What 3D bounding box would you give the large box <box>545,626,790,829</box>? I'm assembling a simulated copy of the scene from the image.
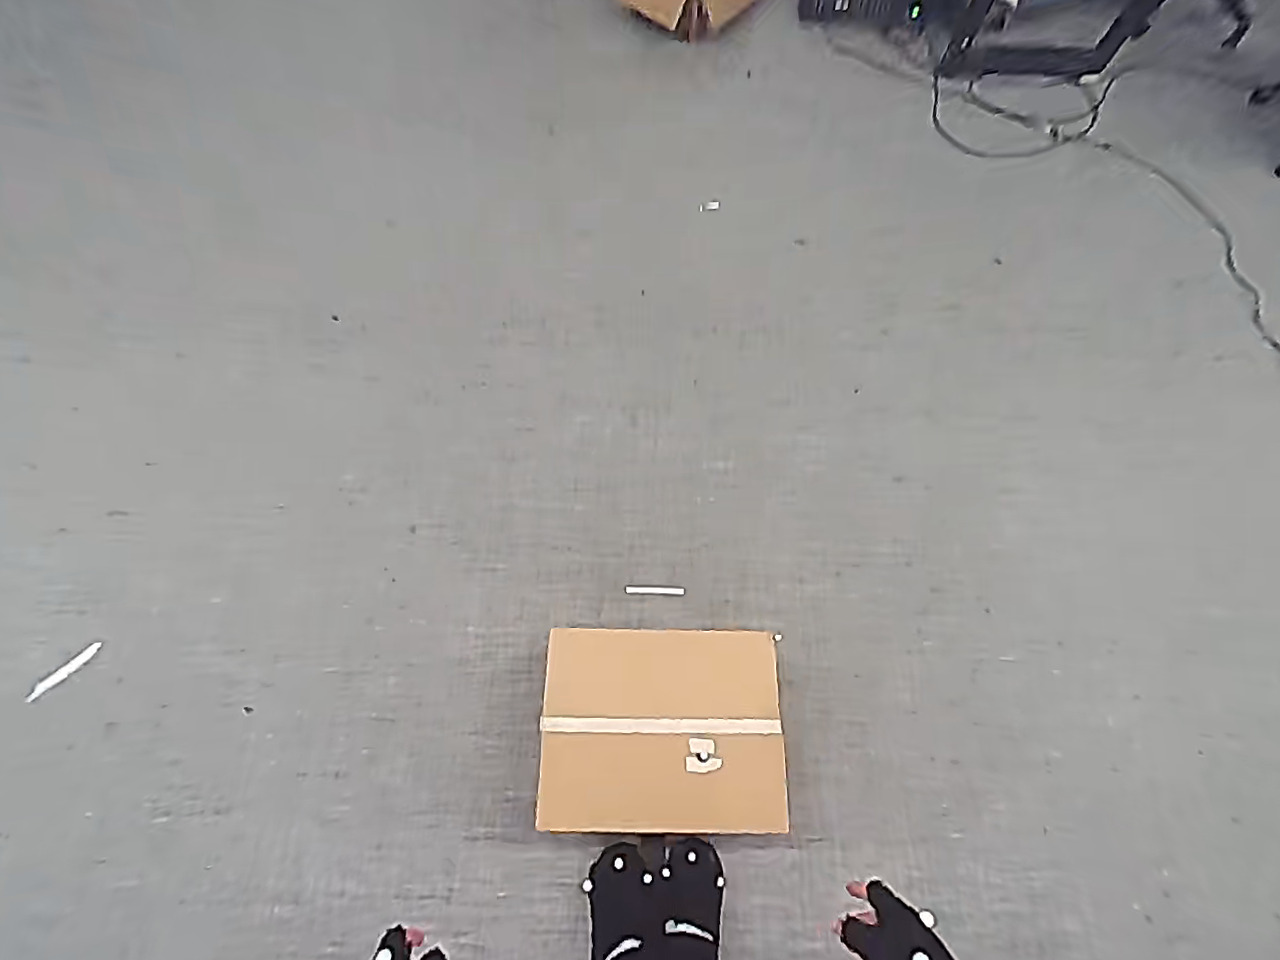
[{"bbox_3d":[0.038,0.466,1.056,0.408,0.320,0.320,1,69,-2],"label":"large box"}]
